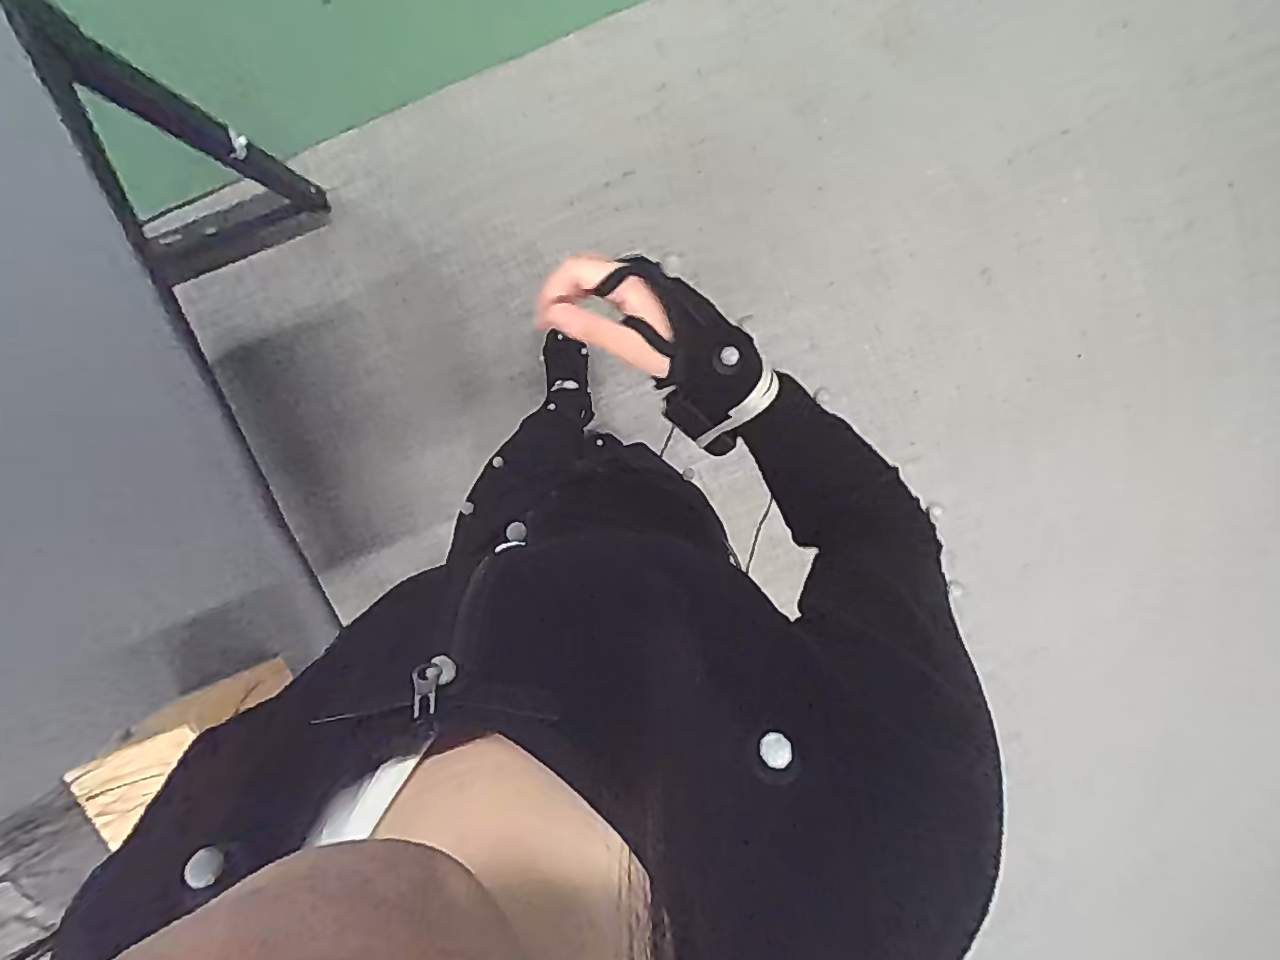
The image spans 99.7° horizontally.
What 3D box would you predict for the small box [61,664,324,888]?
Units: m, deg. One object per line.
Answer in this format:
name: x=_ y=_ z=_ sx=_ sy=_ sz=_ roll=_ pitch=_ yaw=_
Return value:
small box: x=-0.573 y=0.379 z=0.721 sx=0.179 sy=0.176 sz=0.168 roll=-23 pitch=99 yaw=2
